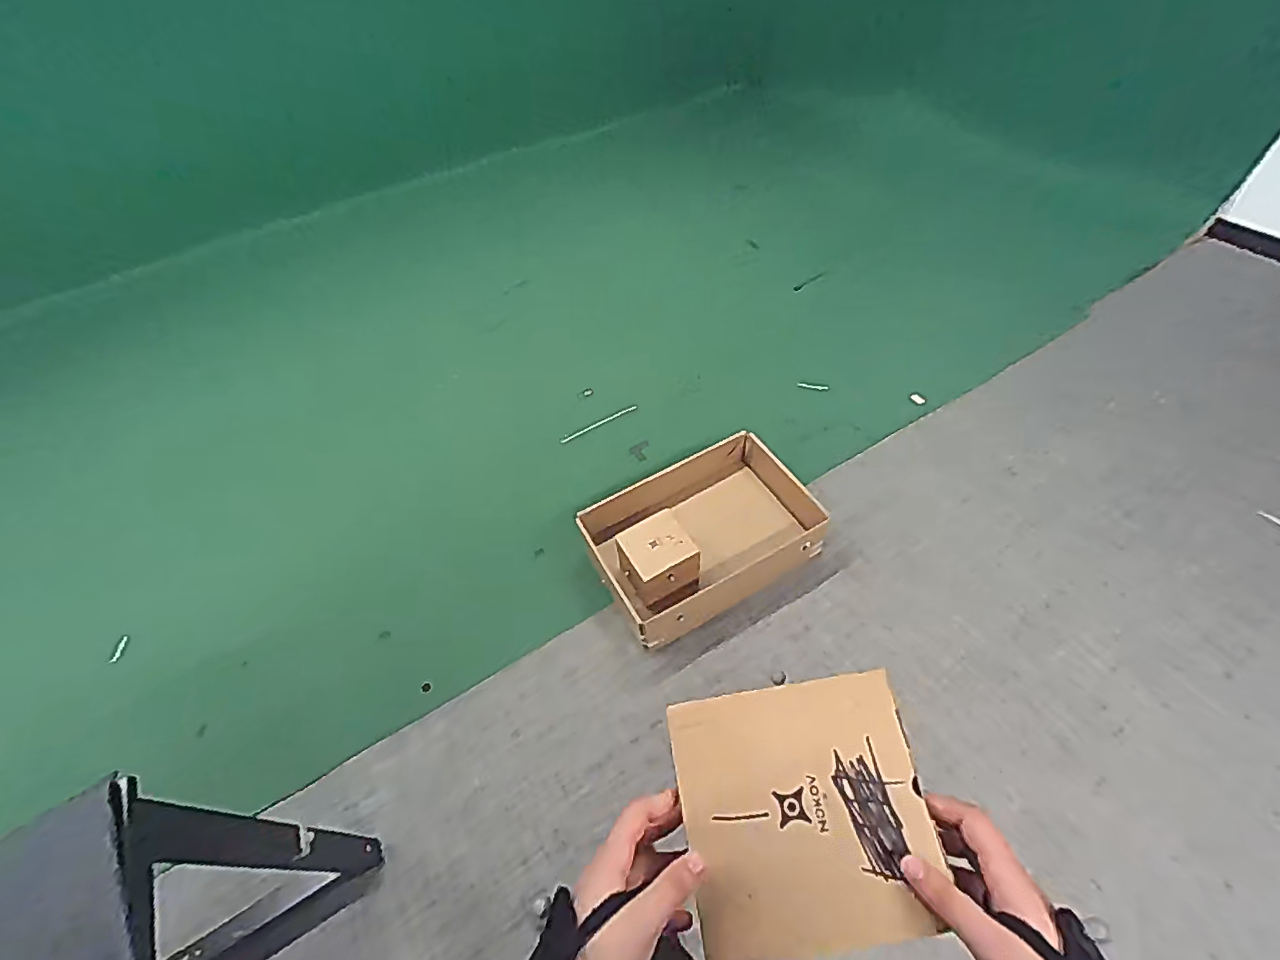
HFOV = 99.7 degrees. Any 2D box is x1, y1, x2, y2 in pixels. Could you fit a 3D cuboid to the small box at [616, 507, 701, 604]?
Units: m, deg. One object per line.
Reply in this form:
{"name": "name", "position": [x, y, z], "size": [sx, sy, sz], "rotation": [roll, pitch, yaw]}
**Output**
{"name": "small box", "position": [0.053, 0.214, 1.497], "size": [0.179, 0.176, 0.168], "rotation": [-26, 56, -16]}

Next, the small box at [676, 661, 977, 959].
{"name": "small box", "position": [0.128, 0.256, 0.454], "size": [0.179, 0.176, 0.168], "rotation": [-10, 65, 0]}
